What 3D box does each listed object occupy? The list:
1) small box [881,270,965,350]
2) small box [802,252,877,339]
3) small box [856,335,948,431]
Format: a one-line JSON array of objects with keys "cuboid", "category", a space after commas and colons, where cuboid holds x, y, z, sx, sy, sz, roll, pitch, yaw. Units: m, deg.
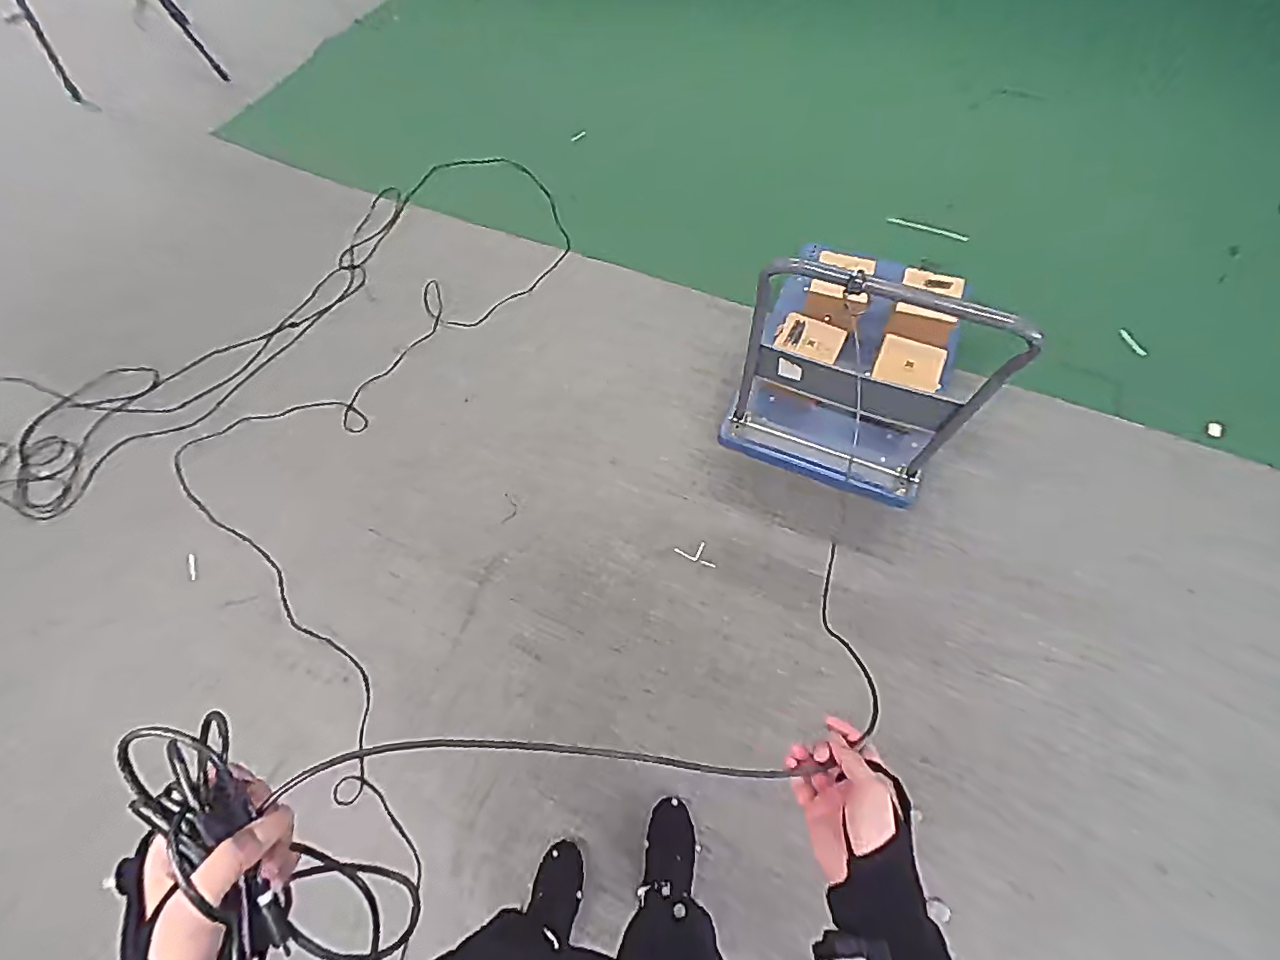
[{"cuboid": [0.849, -0.496, 1.633, 0.168, 0.176, 0.179, 18, 68, 13], "category": "small box"}, {"cuboid": [0.615, -0.570, 1.686, 0.168, 0.176, 0.179, 18, 67, 11], "category": "small box"}, {"cuboid": [0.735, -0.272, 1.534, 0.168, 0.176, 0.179, 22, 69, 14], "category": "small box"}]
